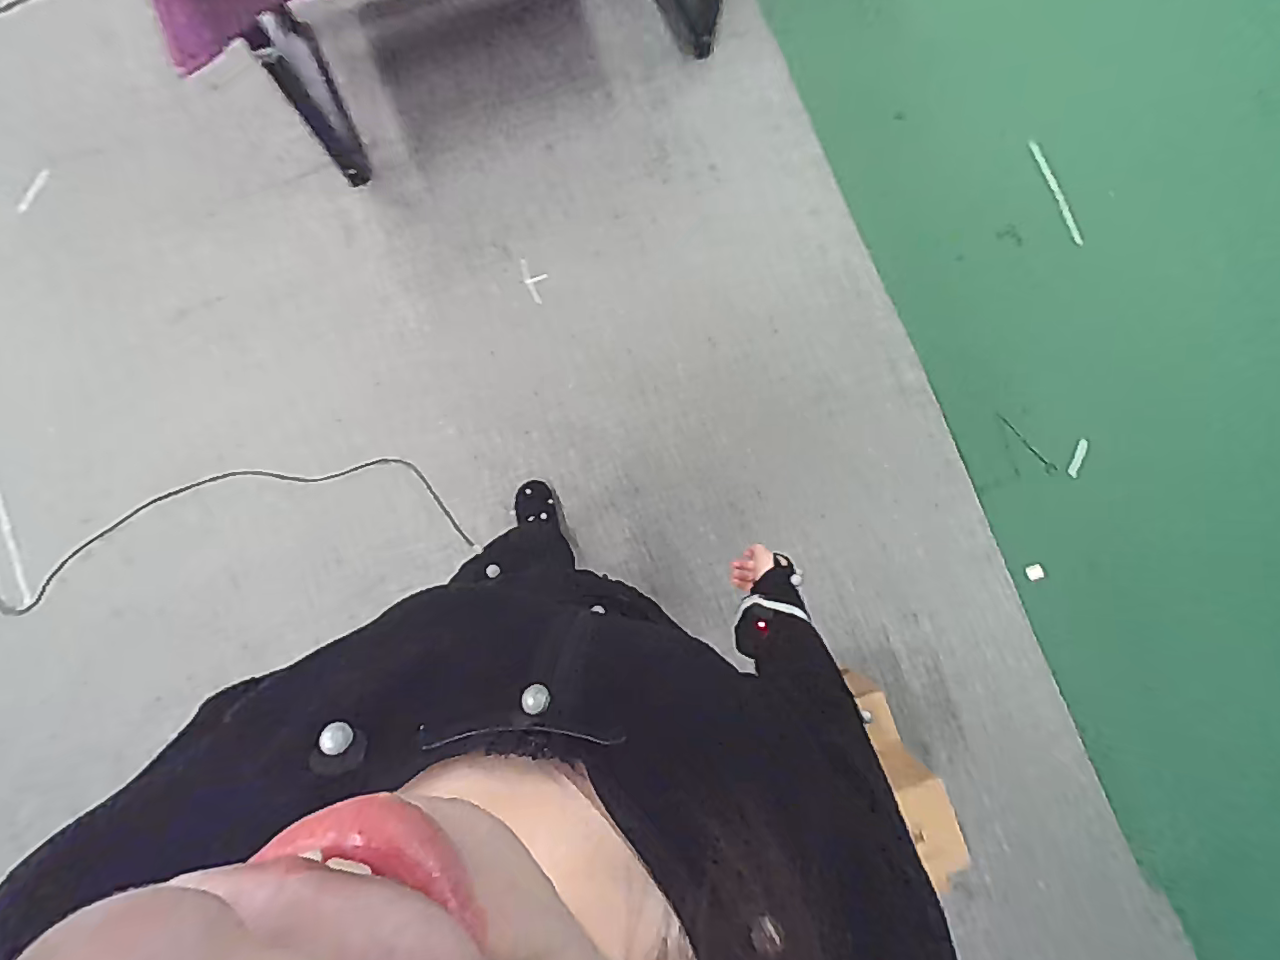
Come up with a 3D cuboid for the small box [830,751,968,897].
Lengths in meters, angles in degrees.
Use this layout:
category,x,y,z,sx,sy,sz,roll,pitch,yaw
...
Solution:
category,x,y,z,sx,sy,sz,roll,pitch,yaw
small box,0.513,0.679,1.098,0.168,0.176,0.179,-17,87,-5
